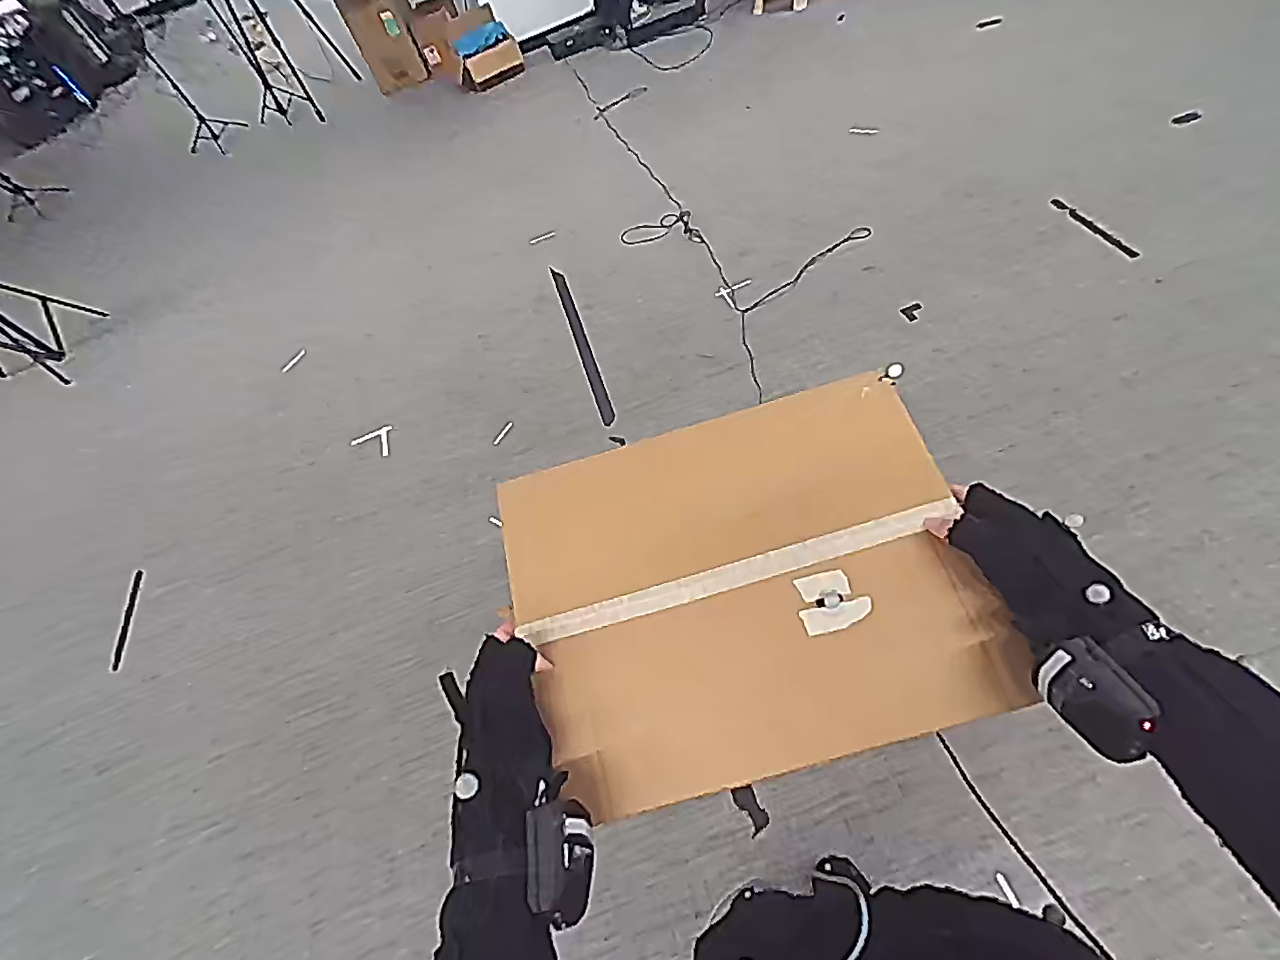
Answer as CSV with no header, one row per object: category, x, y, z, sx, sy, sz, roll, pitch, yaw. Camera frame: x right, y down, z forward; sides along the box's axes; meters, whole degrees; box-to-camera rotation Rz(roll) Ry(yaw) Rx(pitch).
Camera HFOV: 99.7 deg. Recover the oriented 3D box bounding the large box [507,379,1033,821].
large box,0.108,0.146,0.629,0.408,0.320,0.320,-17,66,1
